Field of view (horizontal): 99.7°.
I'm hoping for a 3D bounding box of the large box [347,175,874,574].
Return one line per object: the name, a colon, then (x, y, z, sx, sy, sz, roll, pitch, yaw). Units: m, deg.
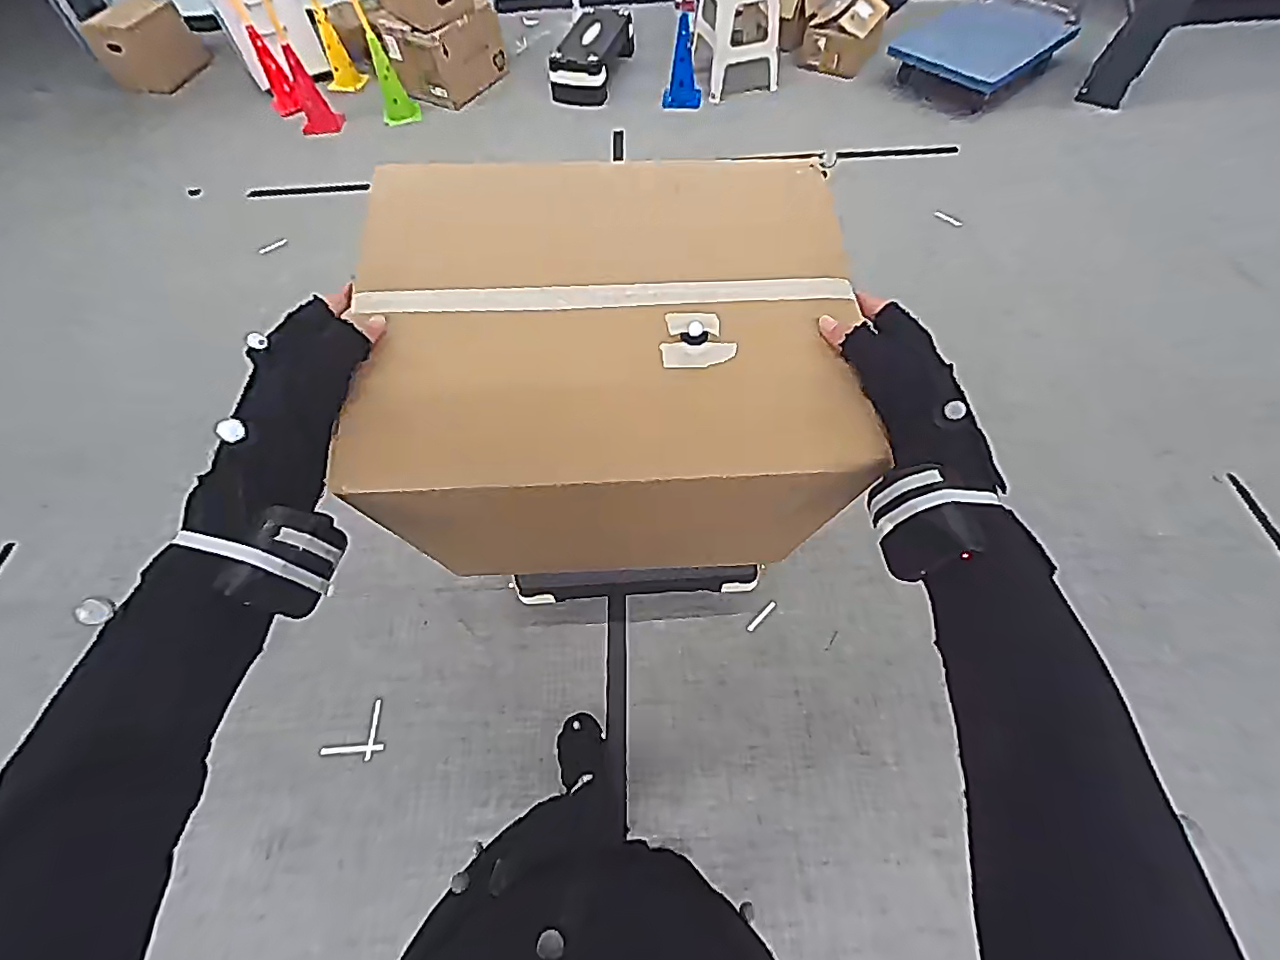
large box: (-0.032, -0.089, 0.593, 0.408, 0.320, 0.320, -2, 69, -3)
